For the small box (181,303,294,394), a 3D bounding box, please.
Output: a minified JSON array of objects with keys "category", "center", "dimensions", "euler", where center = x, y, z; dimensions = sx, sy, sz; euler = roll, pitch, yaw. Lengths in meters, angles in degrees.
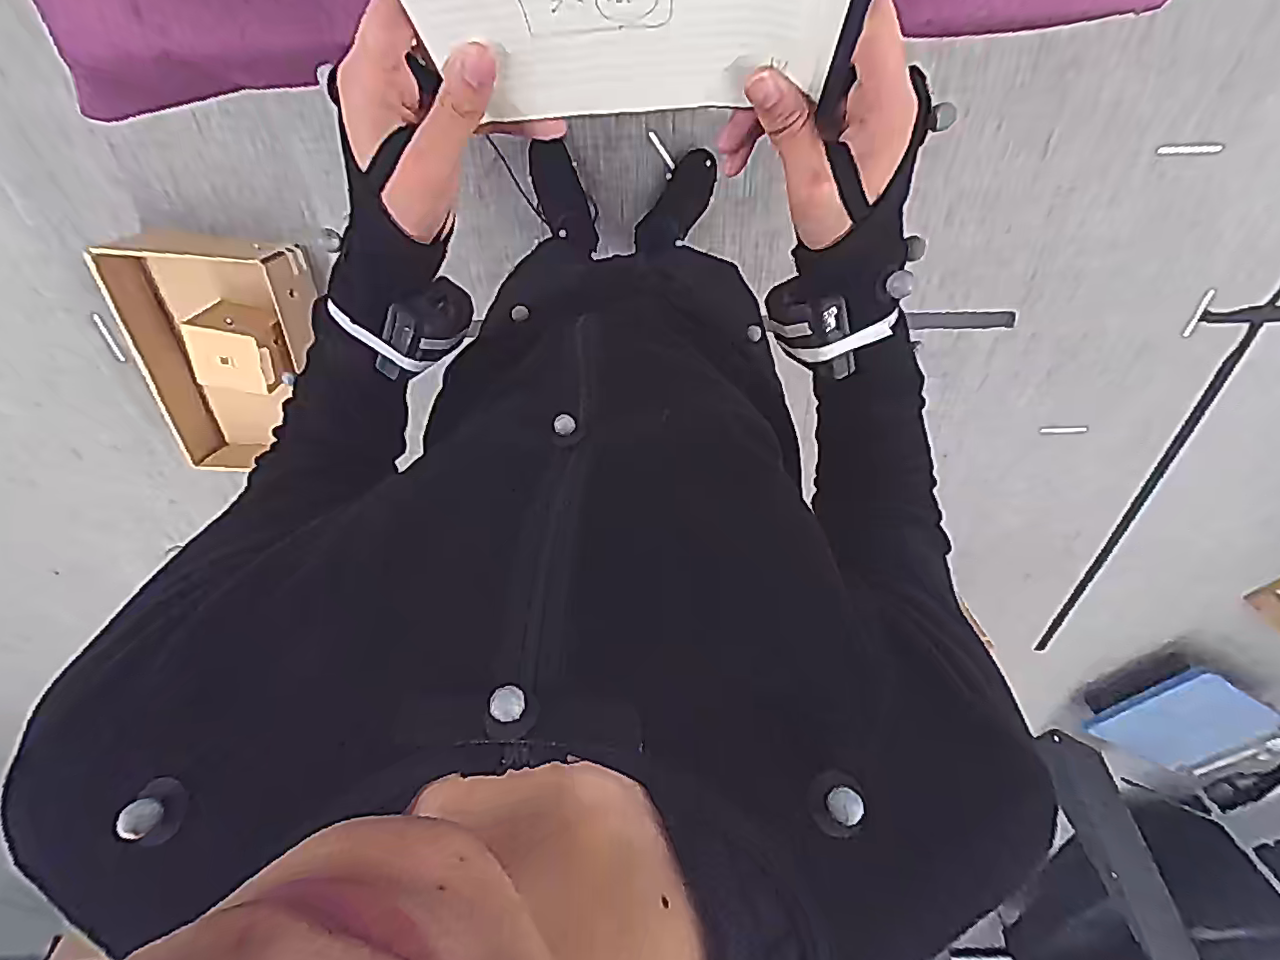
[{"category":"small box","center":[-1.036,-0.348,1.415],"dimensions":[0.179,0.176,0.168],"euler":[9,126,-9]}]
